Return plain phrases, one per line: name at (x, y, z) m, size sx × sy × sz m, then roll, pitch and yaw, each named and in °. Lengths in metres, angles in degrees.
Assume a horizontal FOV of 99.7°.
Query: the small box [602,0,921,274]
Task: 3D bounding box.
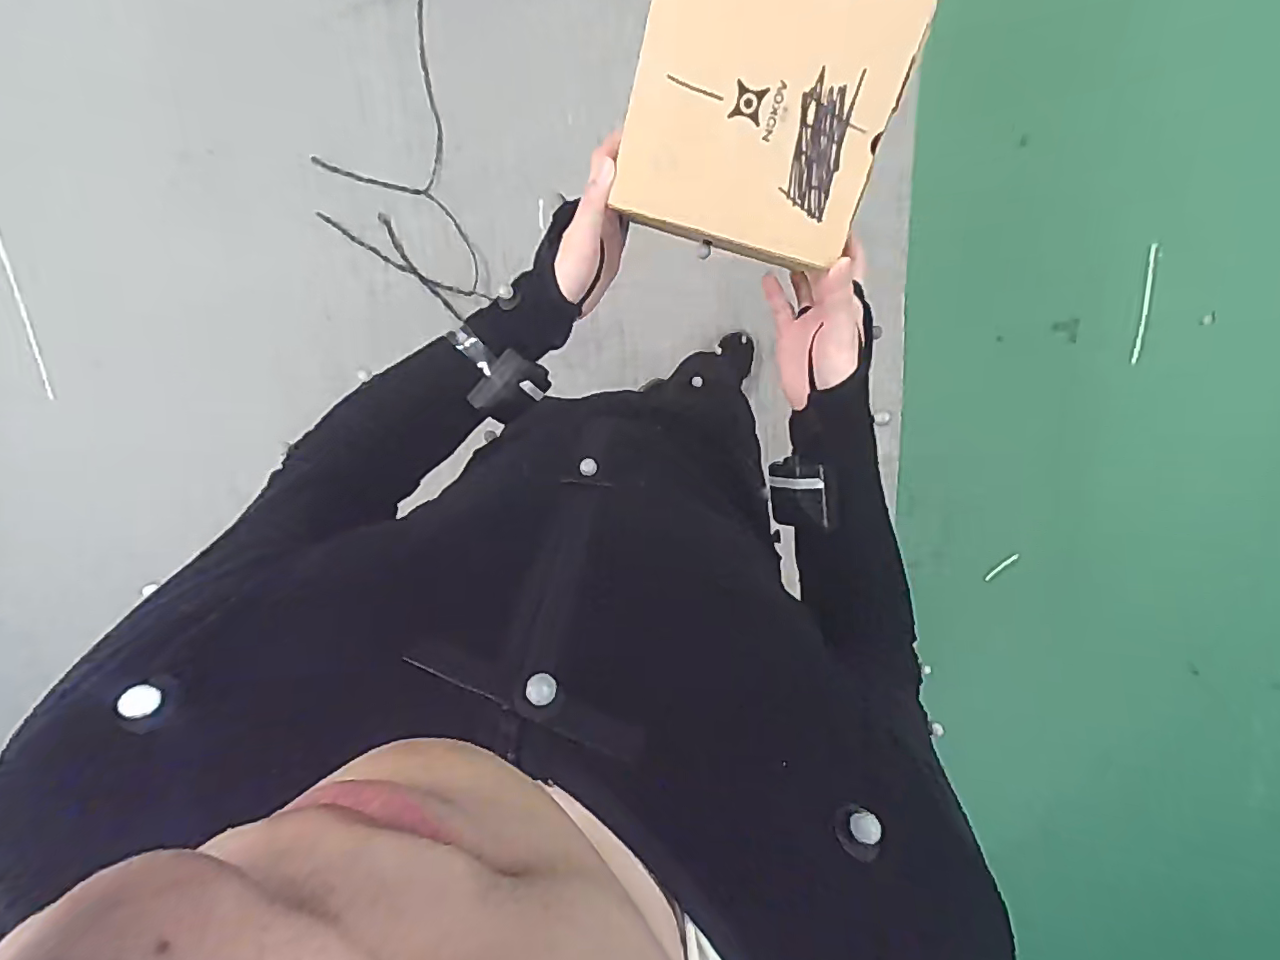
small box at (0.082, -0.277, 0.441) m, size 0.179 × 0.176 × 0.168 m, roll 15°, pitch 111°, yaw 0°
